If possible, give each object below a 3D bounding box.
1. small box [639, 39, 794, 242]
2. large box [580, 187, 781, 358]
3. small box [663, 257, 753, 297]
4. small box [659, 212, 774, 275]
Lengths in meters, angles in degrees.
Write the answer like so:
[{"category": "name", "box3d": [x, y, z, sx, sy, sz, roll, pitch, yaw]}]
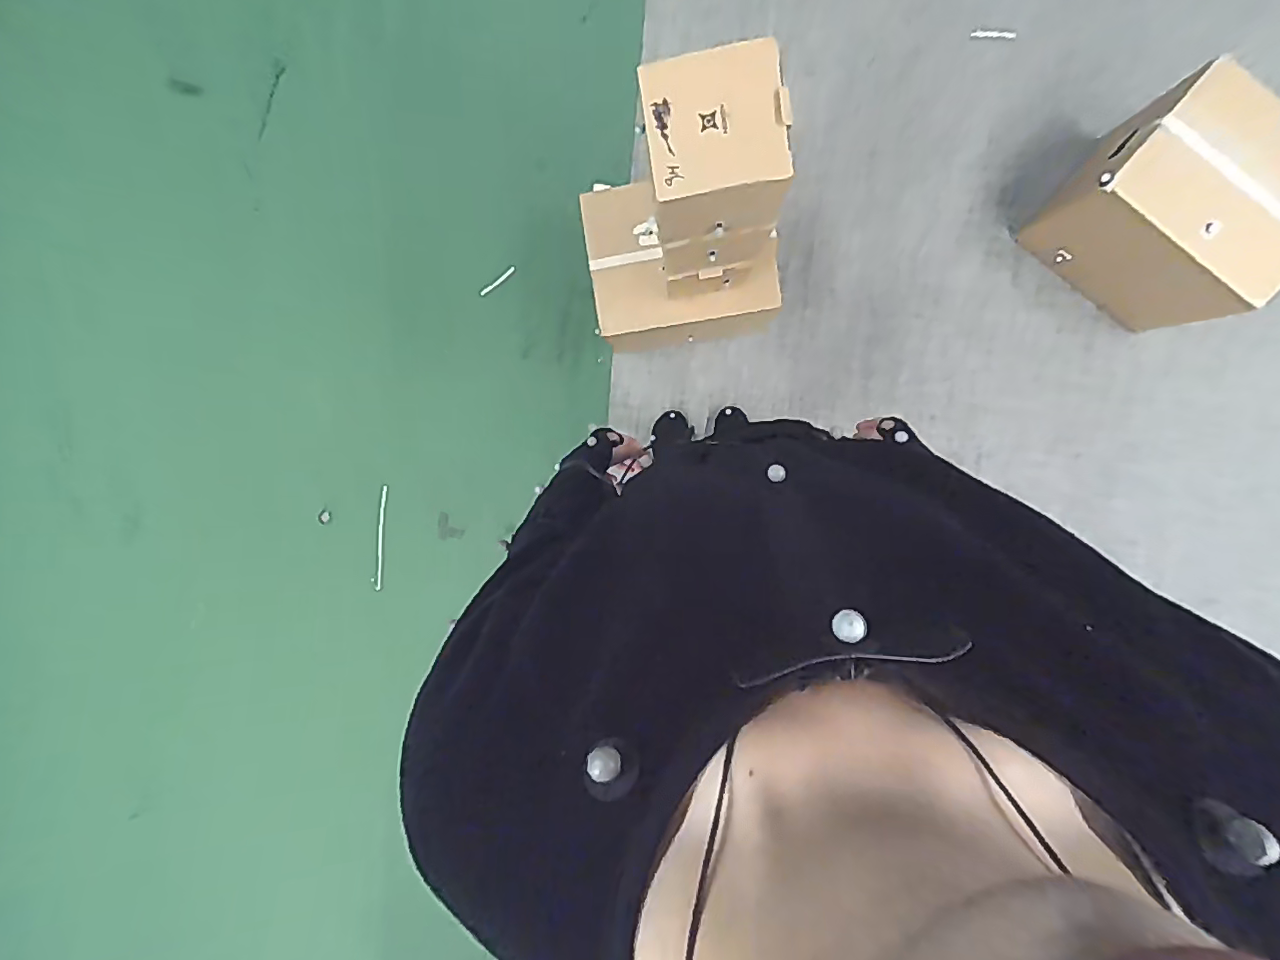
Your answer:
[{"category": "small box", "box3d": [0.098, -0.448, 0.742, 0.179, 0.176, 0.168, -8, 94, 4]}, {"category": "large box", "box3d": [0.102, -0.499, 1.313, 0.408, 0.320, 0.320, -8, 93, 7]}, {"category": "small box", "box3d": [0.124, -0.471, 1.068, 0.168, 0.176, 0.179, -8, 94, 5]}, {"category": "small box", "box3d": [0.114, -0.460, 0.905, 0.179, 0.176, 0.168, -9, 95, 6]}]
